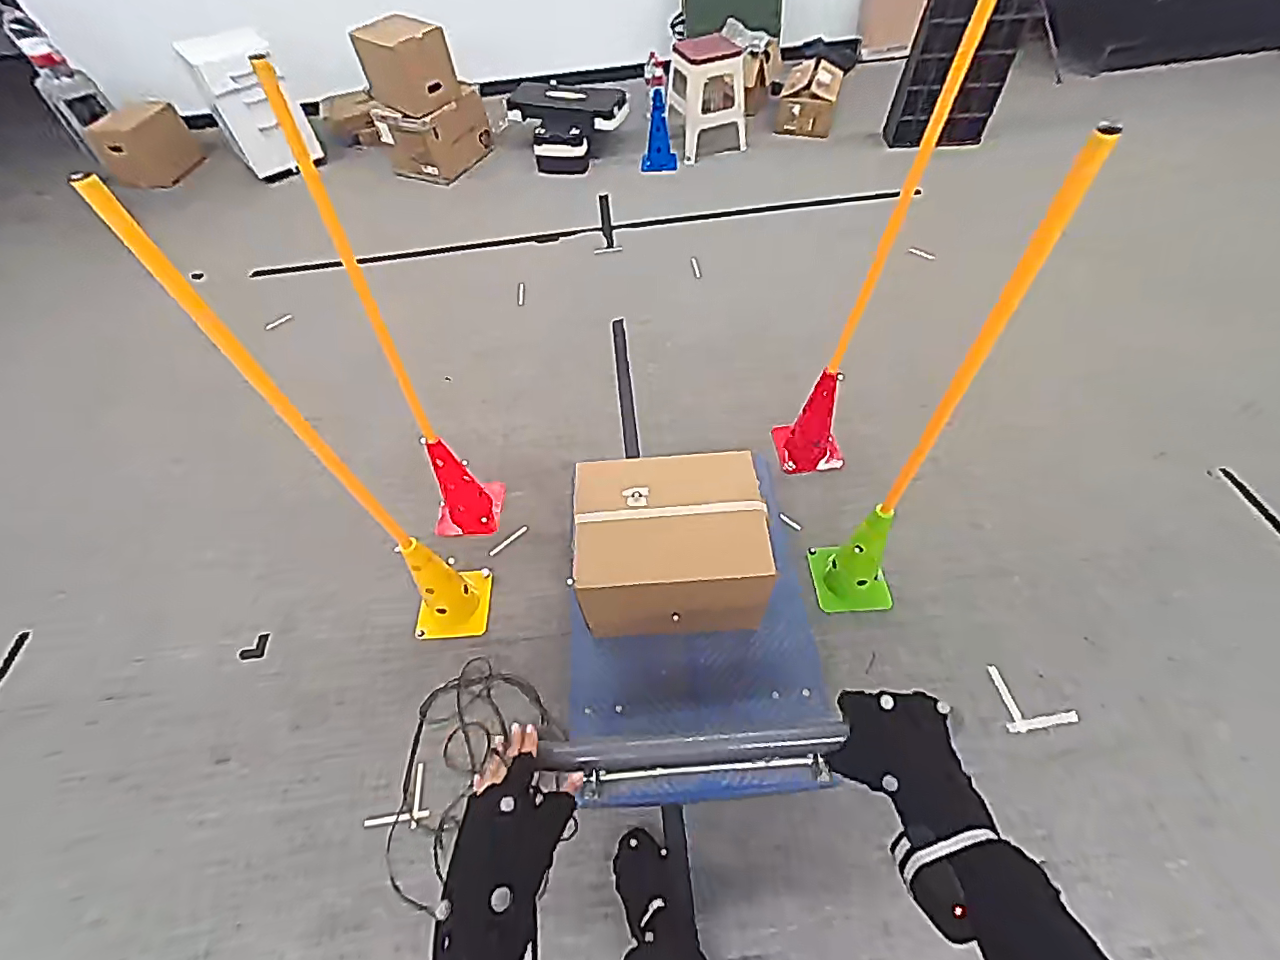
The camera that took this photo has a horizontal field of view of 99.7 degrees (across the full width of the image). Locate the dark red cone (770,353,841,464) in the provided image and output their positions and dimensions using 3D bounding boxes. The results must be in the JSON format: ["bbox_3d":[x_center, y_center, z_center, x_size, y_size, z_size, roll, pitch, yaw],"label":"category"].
[{"bbox_3d":[0.549,-0.230,1.681,0.201,0.394,0.202,-6,55,-3],"label":"dark red cone"}]

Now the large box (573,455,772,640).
[{"bbox_3d":[0.068,0.169,1.276,0.408,0.320,0.320,-5,55,2],"label":"large box"}]

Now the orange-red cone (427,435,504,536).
[{"bbox_3d":[-0.562,-0.009,1.627,0.198,0.360,0.199,0,53,3],"label":"orange-red cone"}]

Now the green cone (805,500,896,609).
[{"bbox_3d":[0.583,0.172,1.411,0.202,0.368,0.200,-3,54,0],"label":"green cone"}]
